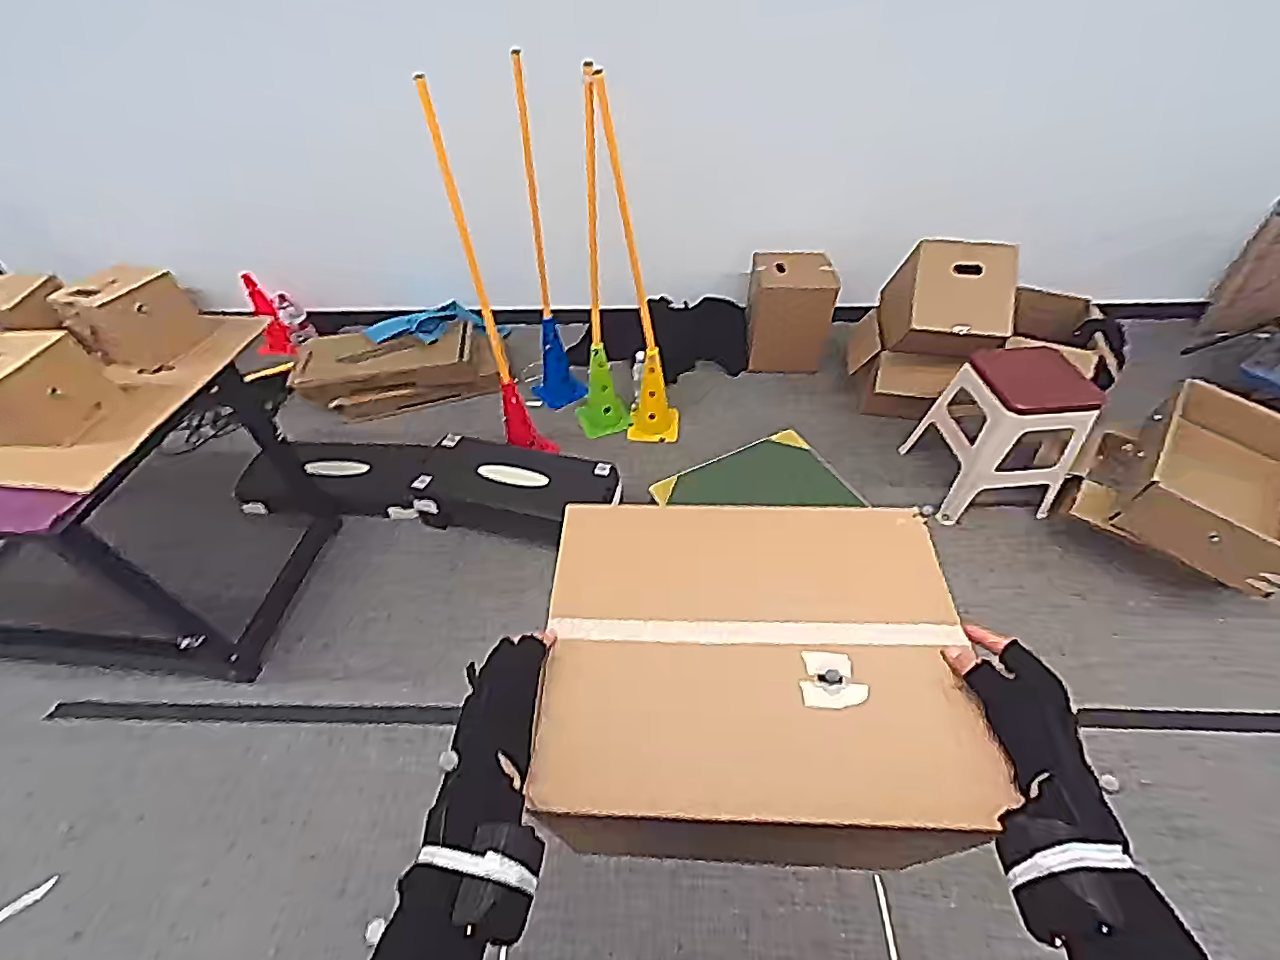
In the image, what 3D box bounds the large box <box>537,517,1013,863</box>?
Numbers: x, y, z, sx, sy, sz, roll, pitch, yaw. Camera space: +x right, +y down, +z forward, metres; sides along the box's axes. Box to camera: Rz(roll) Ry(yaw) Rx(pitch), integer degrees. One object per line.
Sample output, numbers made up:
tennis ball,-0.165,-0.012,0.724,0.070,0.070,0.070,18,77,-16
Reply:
large box,0.117,0.258,0.657,0.408,0.320,0.320,1,51,3
